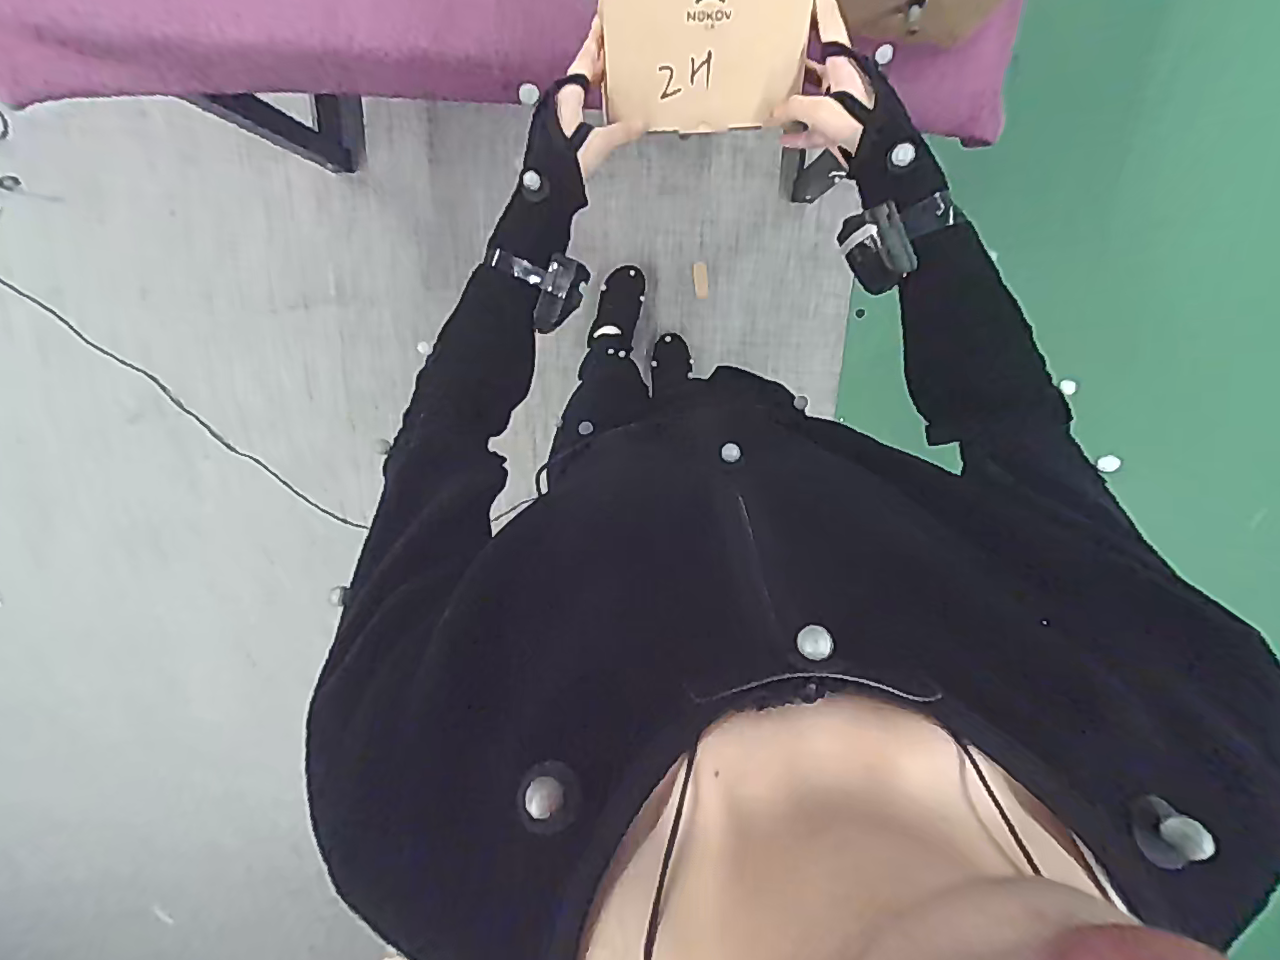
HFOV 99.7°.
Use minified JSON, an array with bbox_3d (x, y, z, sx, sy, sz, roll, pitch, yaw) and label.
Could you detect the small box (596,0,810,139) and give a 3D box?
[{"bbox_3d":[0.045,-0.415,0.479,0.168,0.176,0.179,-3,129,-2],"label":"small box"}]
